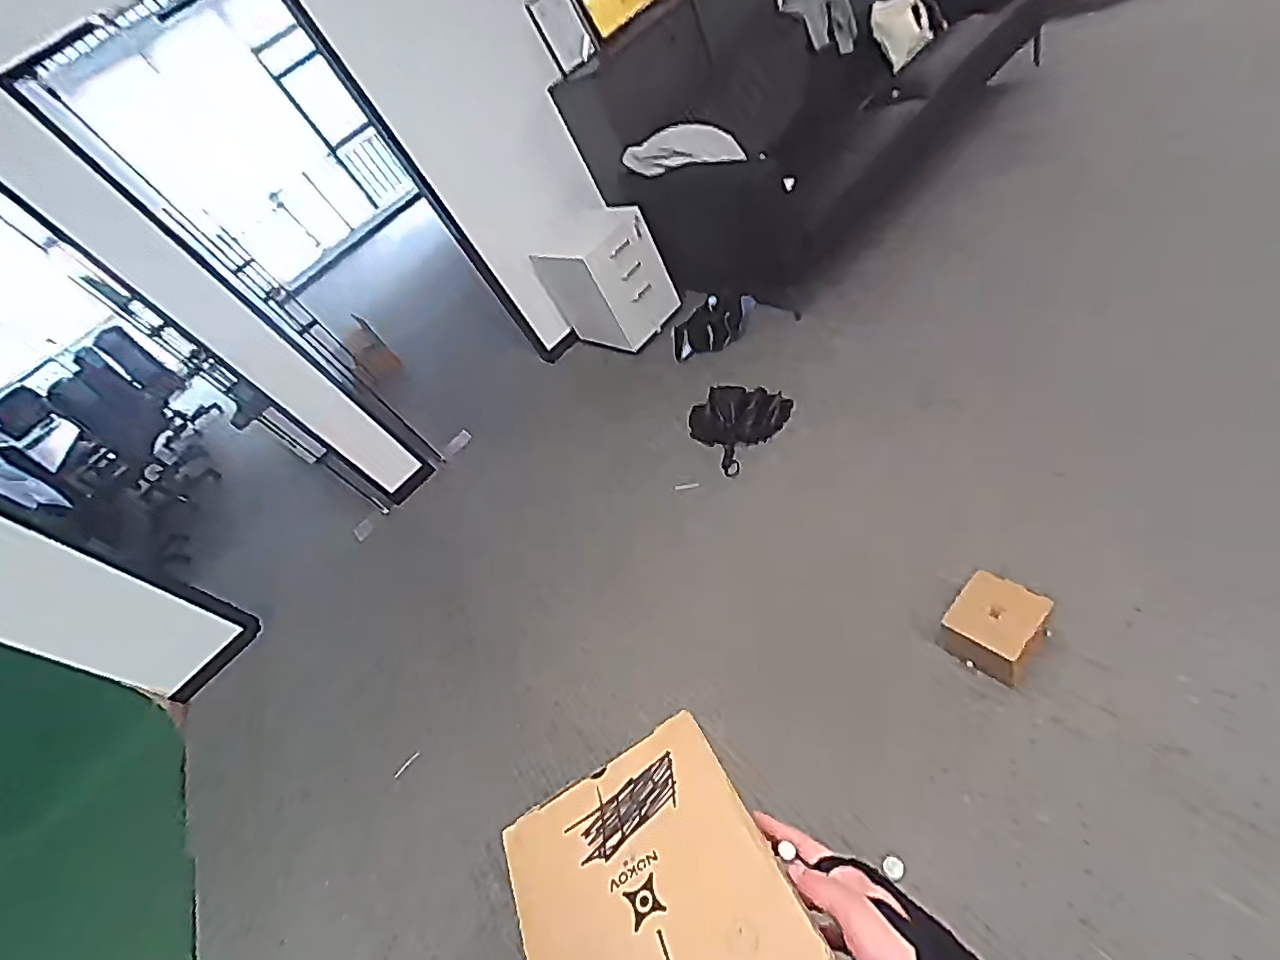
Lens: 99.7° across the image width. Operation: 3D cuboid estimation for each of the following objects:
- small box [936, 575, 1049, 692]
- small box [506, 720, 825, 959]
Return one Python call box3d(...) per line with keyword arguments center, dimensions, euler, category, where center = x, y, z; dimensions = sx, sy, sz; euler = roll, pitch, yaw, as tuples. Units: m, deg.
box3d(center=(0.843, 0.369, 1.301), dimensions=(0.179, 0.176, 0.168), euler=(-46, 42, -12), category="small box")
box3d(center=(0.026, 0.325, 0.395), dimensions=(0.168, 0.176, 0.179), euler=(-30, 36, -7), category="small box")
